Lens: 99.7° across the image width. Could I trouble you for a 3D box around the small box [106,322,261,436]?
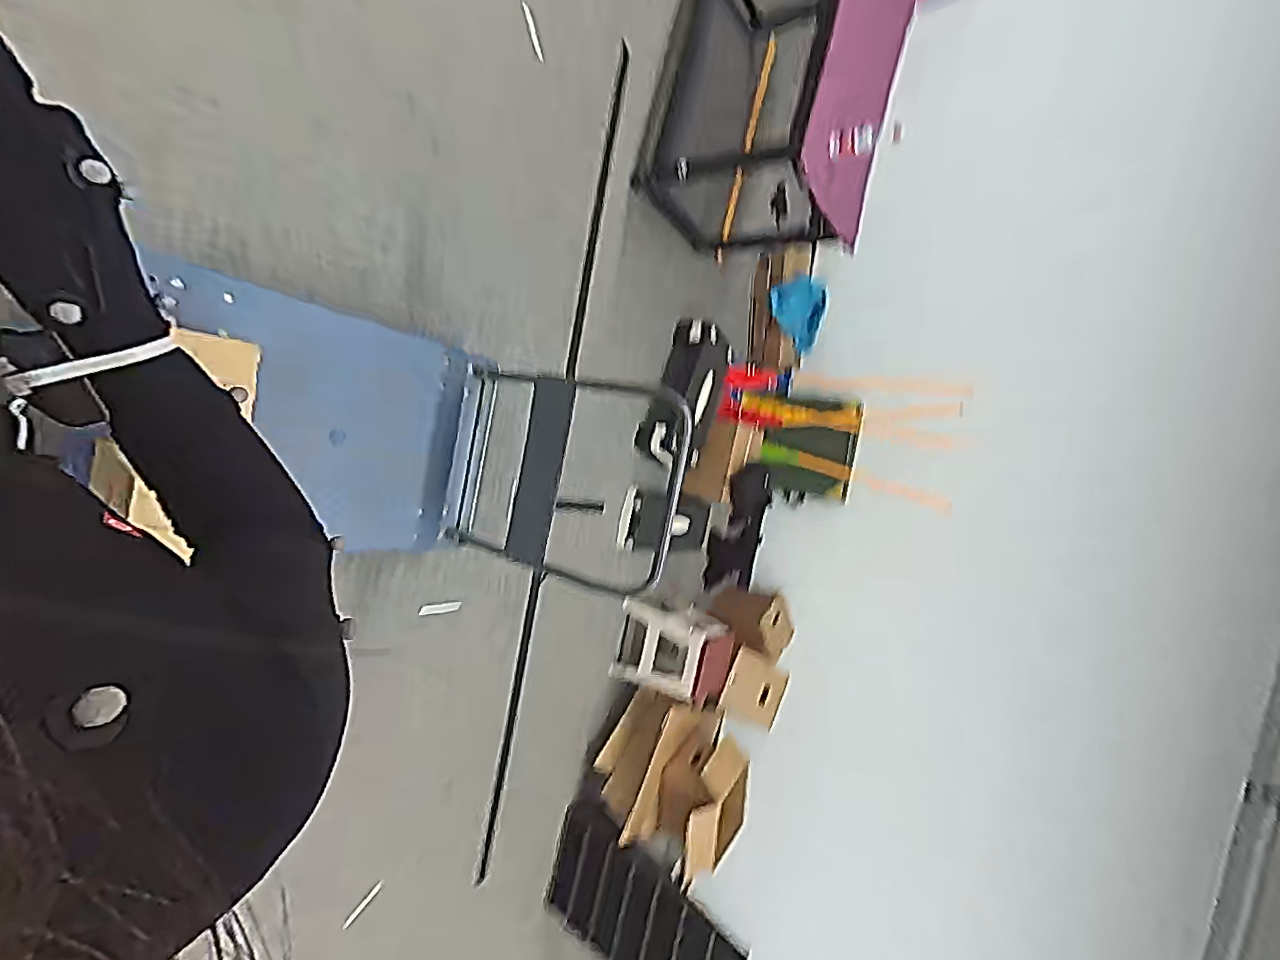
[{"bbox_3d":[-0.829,-0.181,0.980,0.179,0.176,0.168,6,97,-55],"label":"small box"}]
